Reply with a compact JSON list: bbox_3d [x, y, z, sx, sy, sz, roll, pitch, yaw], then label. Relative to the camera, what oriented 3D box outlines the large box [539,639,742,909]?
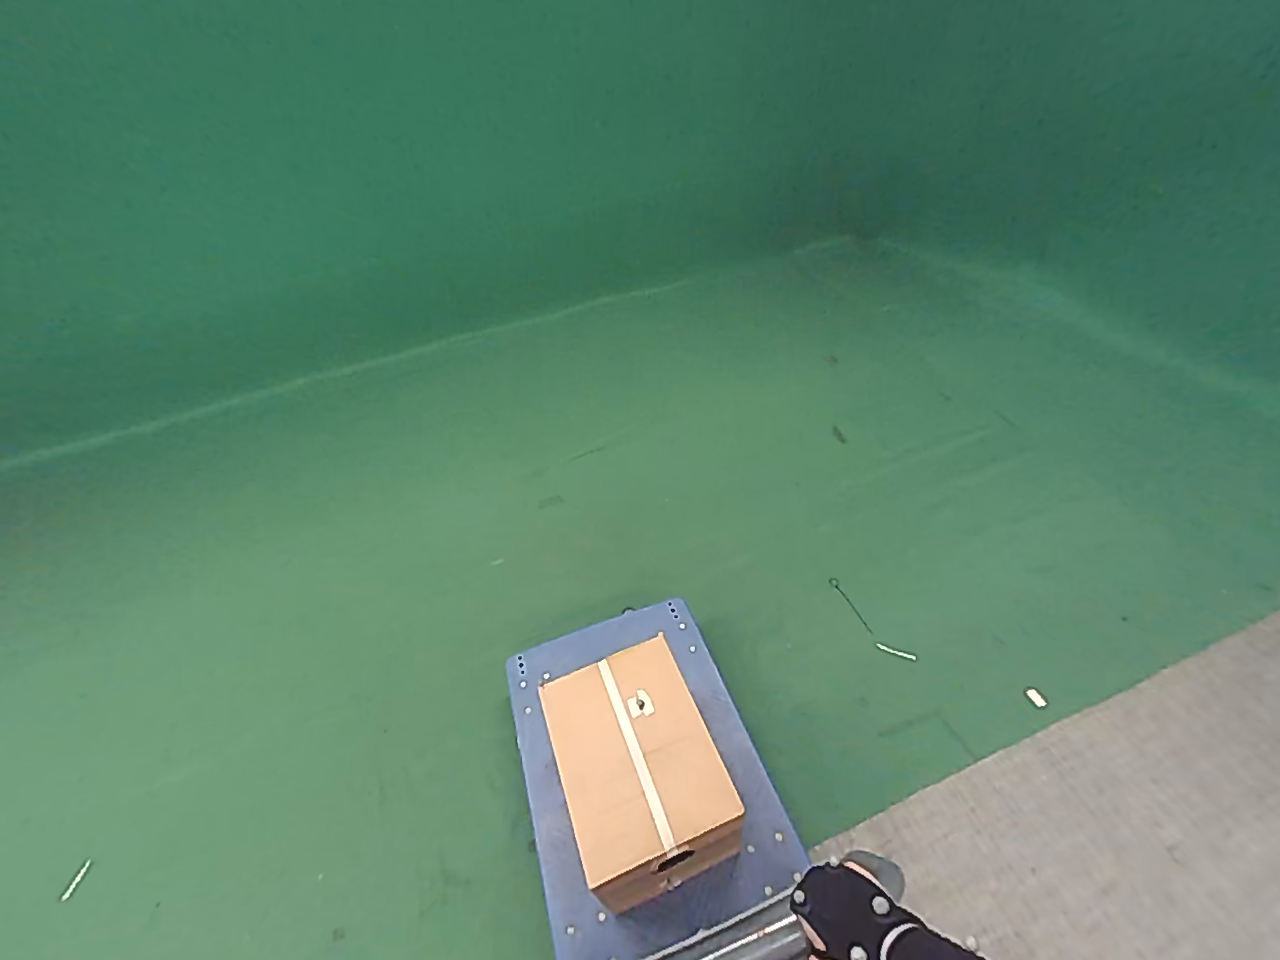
[{"bbox_3d":[0.001,0.656,1.229,0.320,0.320,0.408,-20,45,-11],"label":"large box"}]
